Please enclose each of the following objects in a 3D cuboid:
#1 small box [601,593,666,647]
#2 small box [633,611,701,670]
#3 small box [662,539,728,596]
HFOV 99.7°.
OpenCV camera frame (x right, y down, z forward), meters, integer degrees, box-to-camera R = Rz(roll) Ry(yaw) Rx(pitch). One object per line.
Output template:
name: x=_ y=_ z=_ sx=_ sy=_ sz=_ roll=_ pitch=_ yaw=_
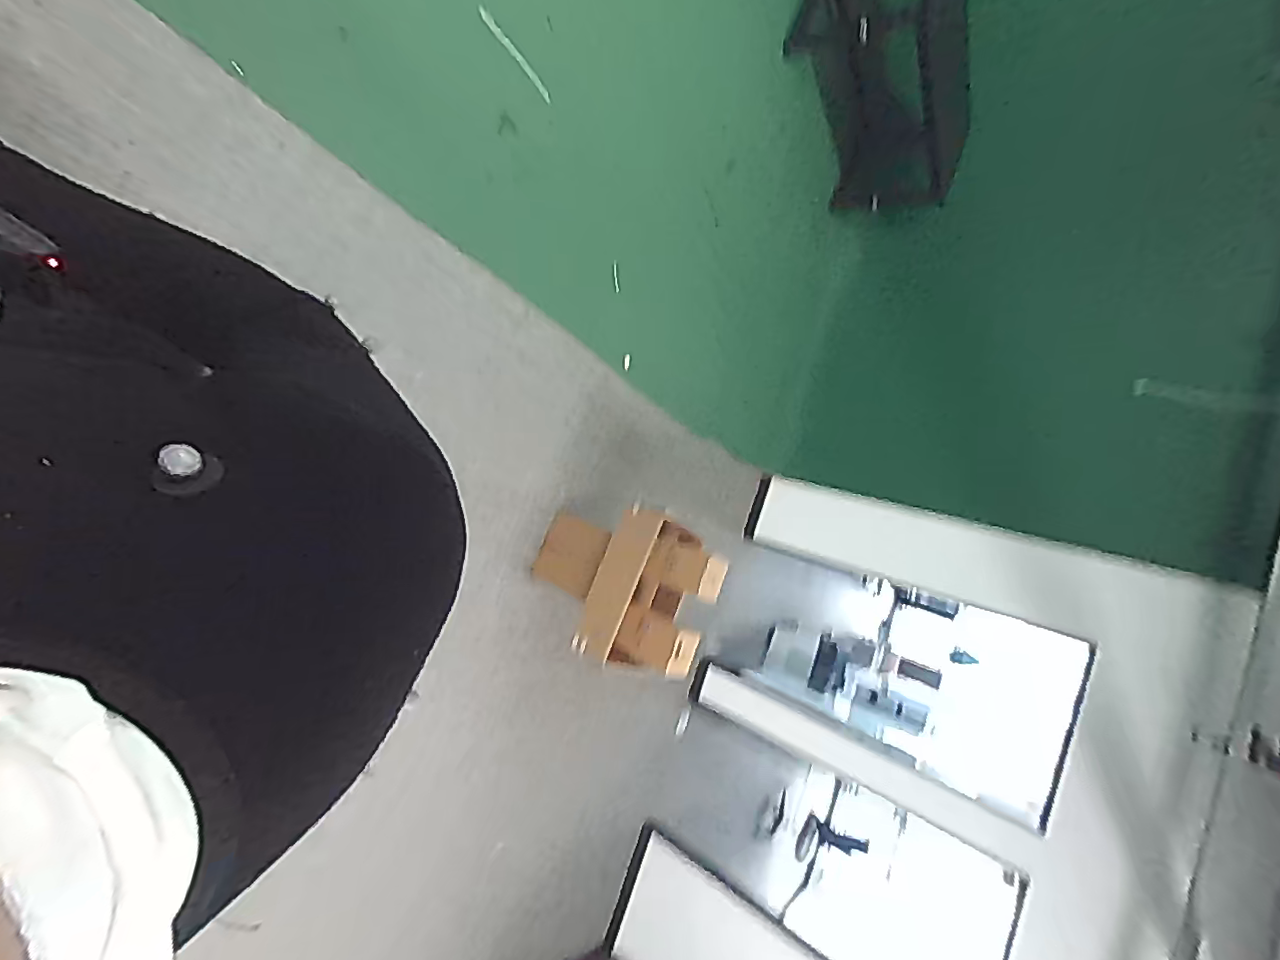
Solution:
small box: x=-0.023 y=0.566 z=2.160 sx=0.179 sy=0.176 sz=0.168 roll=36 pitch=74 yaw=-51
small box: x=0.099 y=0.608 z=2.056 sx=0.179 sy=0.176 sz=0.168 roll=29 pitch=80 yaw=-53
small box: x=0.214 y=0.338 z=2.102 sx=0.179 sy=0.176 sz=0.168 roll=30 pitch=78 yaw=-53
